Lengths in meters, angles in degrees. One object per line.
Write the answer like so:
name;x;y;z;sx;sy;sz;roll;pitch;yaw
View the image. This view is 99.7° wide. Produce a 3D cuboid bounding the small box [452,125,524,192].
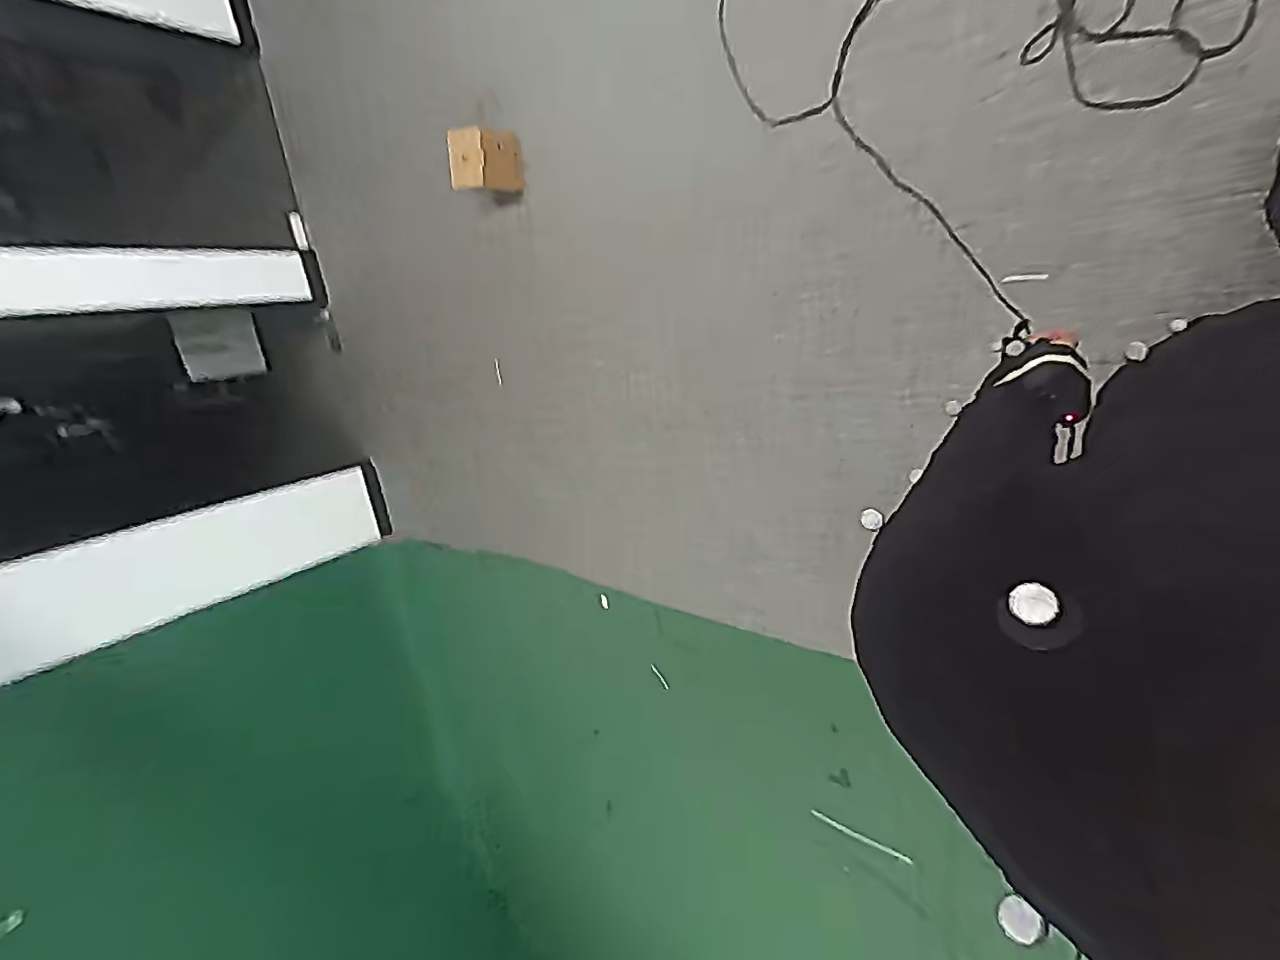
small box;-0.499;-1.064;1.801;0.179;0.176;0.168;18;117;36
